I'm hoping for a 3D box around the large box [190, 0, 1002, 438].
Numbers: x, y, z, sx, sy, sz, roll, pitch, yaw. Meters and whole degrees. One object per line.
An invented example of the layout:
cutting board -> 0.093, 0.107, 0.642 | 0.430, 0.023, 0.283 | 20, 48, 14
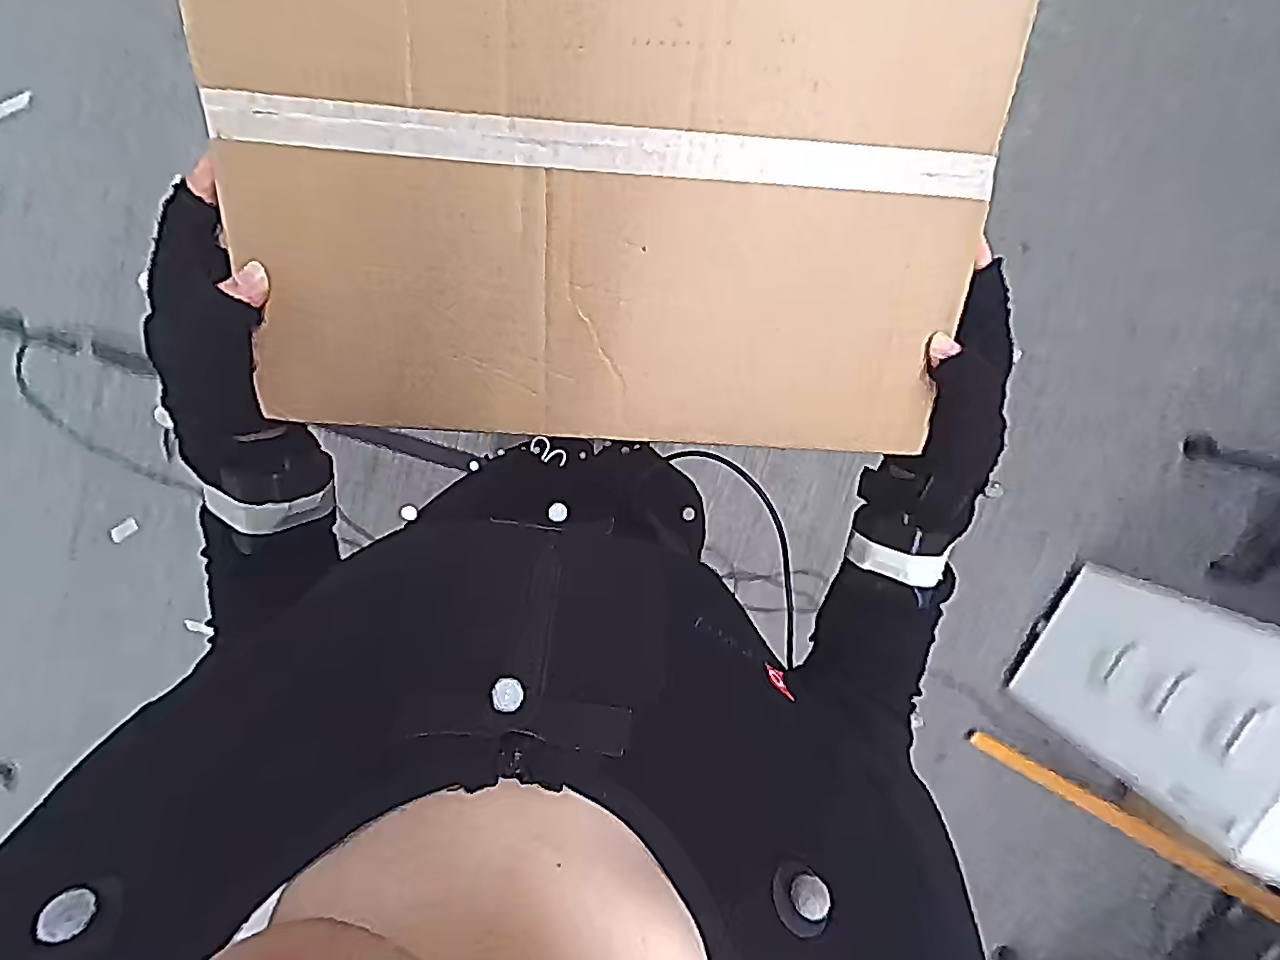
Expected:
large box -> -0.024, -0.227, 0.427 | 0.408, 0.320, 0.320 | 1, 110, -3
